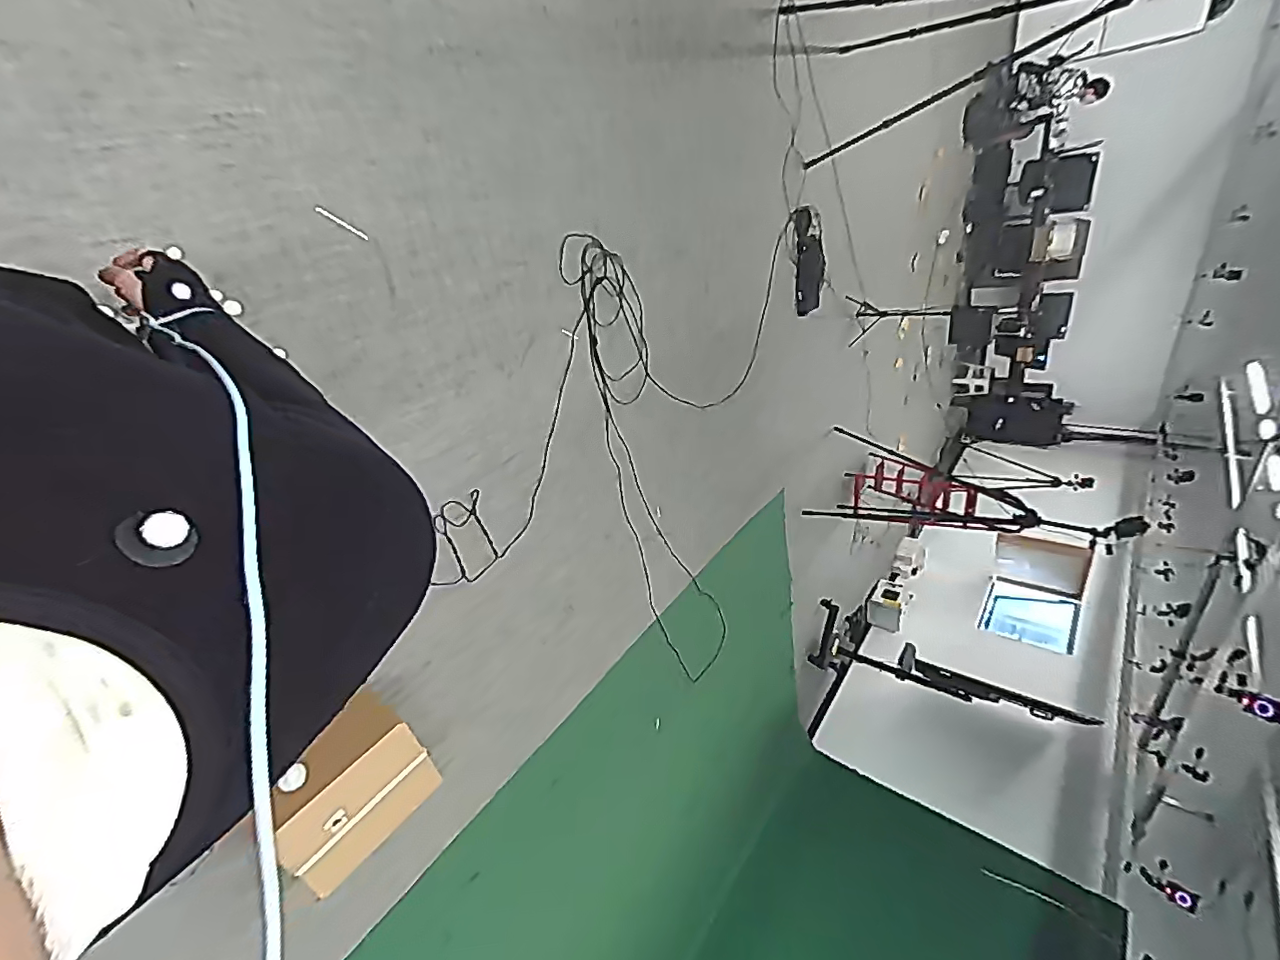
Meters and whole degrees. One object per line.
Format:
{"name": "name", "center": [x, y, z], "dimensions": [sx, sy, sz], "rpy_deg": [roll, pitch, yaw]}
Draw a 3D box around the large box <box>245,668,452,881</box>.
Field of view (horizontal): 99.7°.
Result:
{"name": "large box", "center": [-0.867, 0.866, 1.642], "dimensions": [0.408, 0.320, 0.320], "rpy_deg": [-40, 128, -36]}
